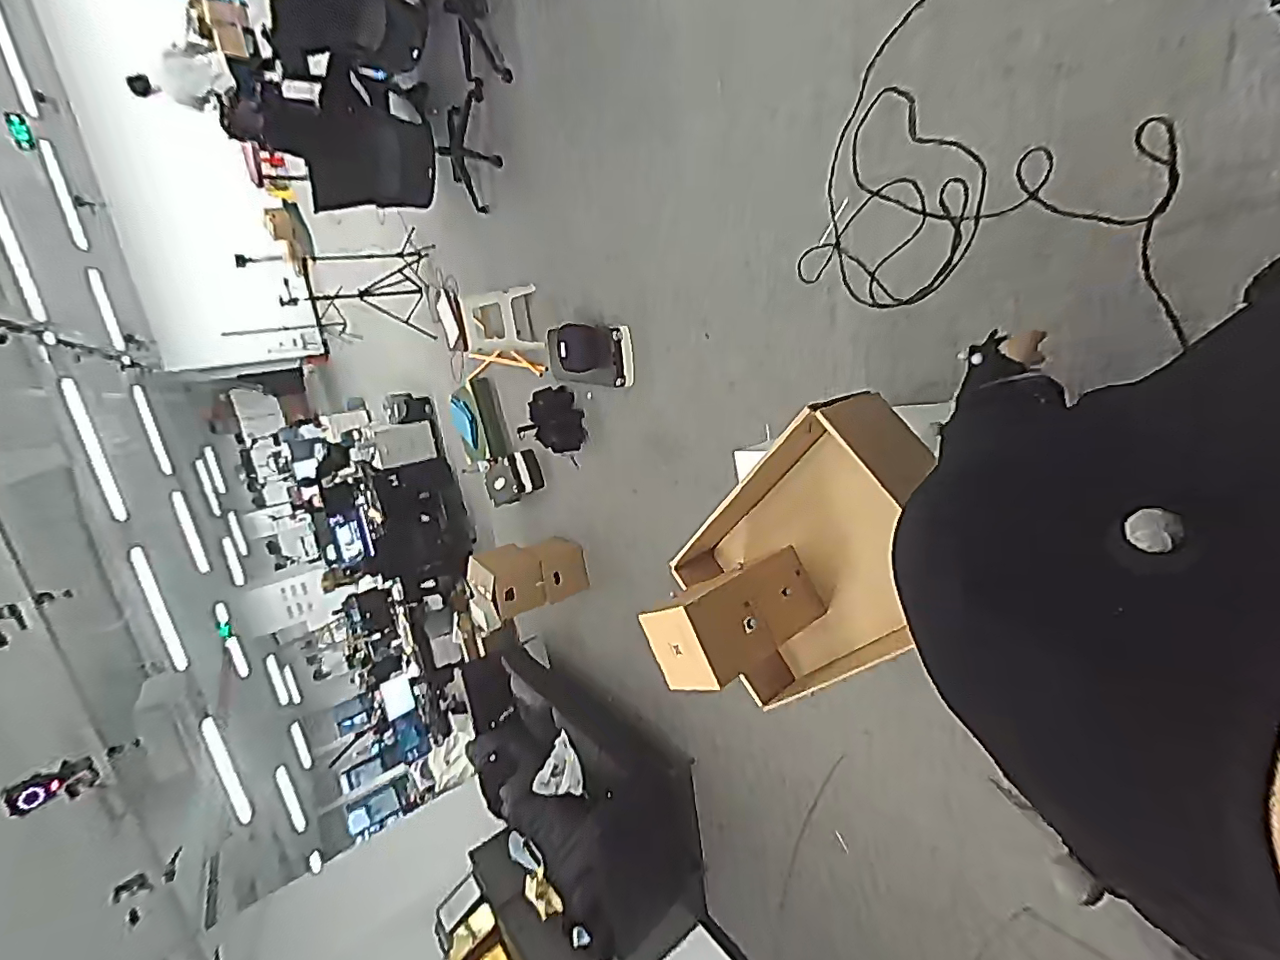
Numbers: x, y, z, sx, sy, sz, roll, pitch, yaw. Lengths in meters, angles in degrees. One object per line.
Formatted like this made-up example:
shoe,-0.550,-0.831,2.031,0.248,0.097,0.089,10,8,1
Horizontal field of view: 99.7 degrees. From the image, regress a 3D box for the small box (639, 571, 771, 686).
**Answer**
small box,0.133,0.303,1.106,0.179,0.176,0.168,-33,80,54
